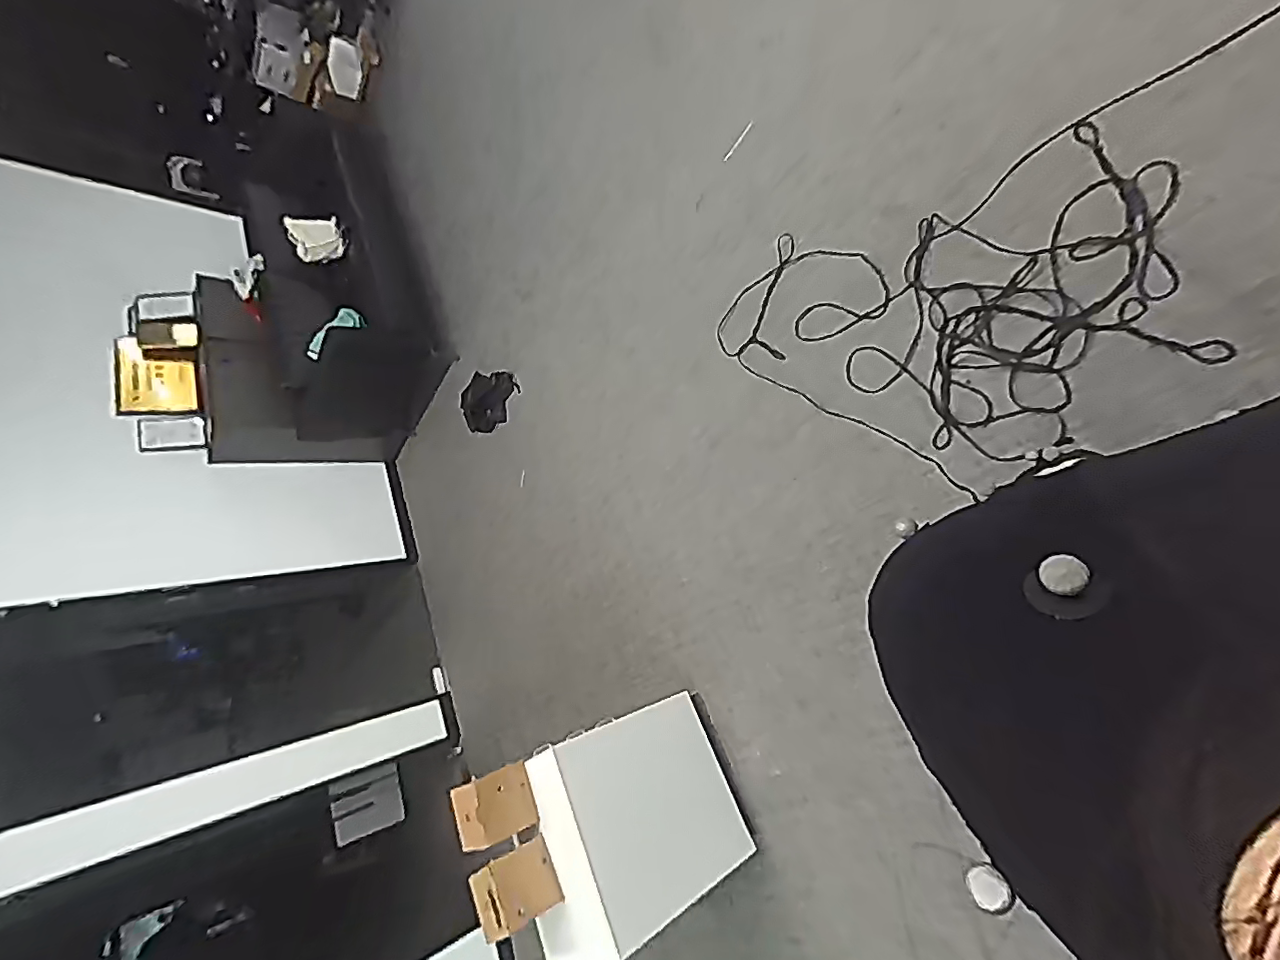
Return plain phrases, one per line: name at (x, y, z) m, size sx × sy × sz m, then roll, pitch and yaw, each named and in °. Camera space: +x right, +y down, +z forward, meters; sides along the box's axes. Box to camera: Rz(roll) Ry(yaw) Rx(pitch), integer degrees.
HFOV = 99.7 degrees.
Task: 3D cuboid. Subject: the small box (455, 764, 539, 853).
small box at (-0.409, 0.947, 1.566) m, size 0.179 × 0.176 × 0.168 m, roll -42°, pitch 61°, yaw 40°
